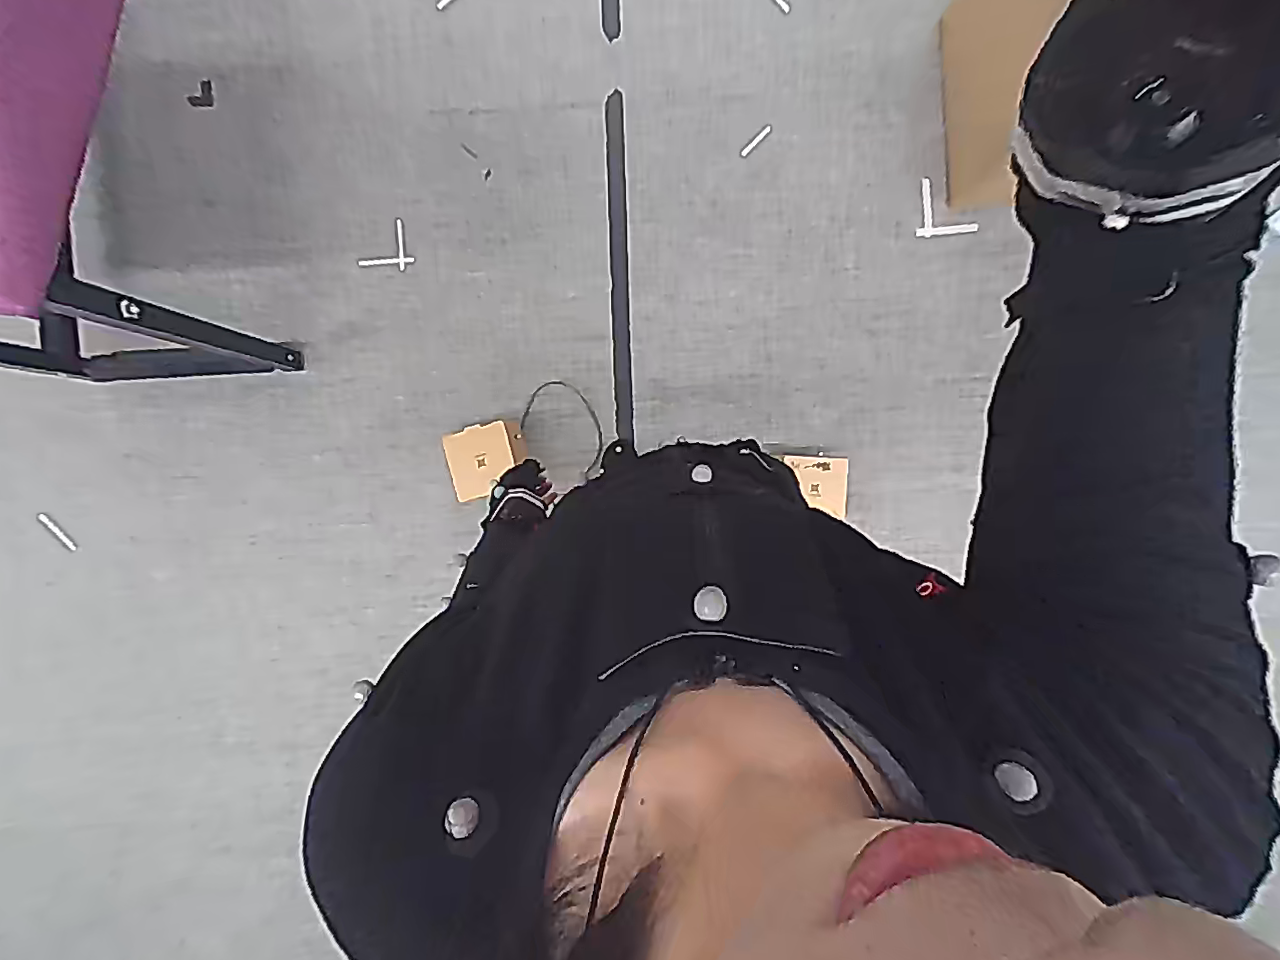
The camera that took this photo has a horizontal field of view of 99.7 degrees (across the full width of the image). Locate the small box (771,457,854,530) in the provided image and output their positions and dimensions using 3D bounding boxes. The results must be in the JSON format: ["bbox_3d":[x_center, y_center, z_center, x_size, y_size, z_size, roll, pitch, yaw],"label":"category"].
[{"bbox_3d":[0.450,0.031,1.436,0.168,0.176,0.179,3,92,0],"label":"small box"}]

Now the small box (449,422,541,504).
[{"bbox_3d":[-0.378,-0.044,1.436,0.168,0.176,0.179,-15,92,4],"label":"small box"}]
